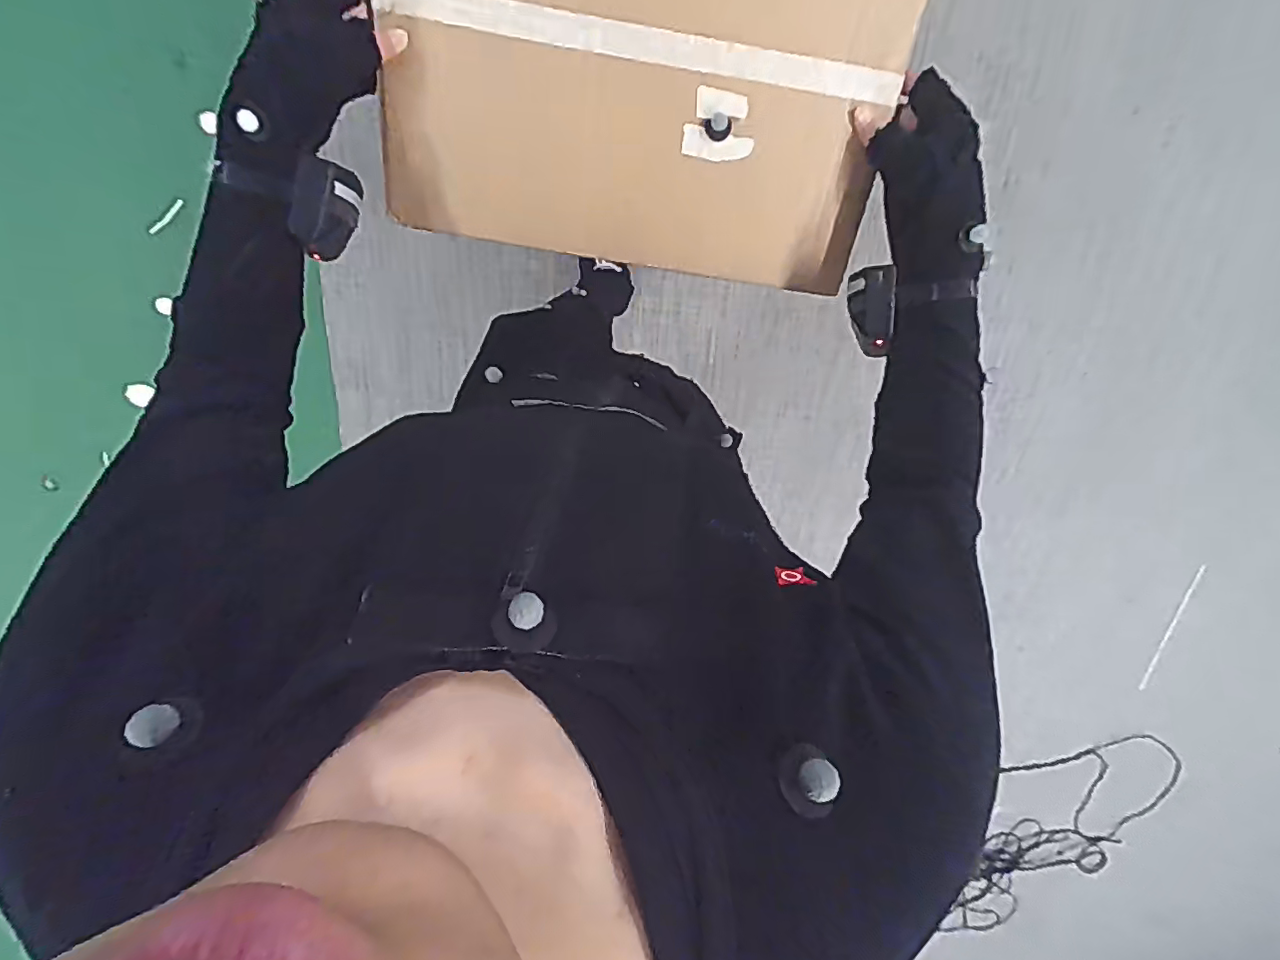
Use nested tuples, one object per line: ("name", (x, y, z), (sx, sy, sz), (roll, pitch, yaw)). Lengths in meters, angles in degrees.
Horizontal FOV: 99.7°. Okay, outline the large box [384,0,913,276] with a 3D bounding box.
("large box", (-0.001, -0.411, 0.551), (0.408, 0.320, 0.320), (7, 117, -5))
